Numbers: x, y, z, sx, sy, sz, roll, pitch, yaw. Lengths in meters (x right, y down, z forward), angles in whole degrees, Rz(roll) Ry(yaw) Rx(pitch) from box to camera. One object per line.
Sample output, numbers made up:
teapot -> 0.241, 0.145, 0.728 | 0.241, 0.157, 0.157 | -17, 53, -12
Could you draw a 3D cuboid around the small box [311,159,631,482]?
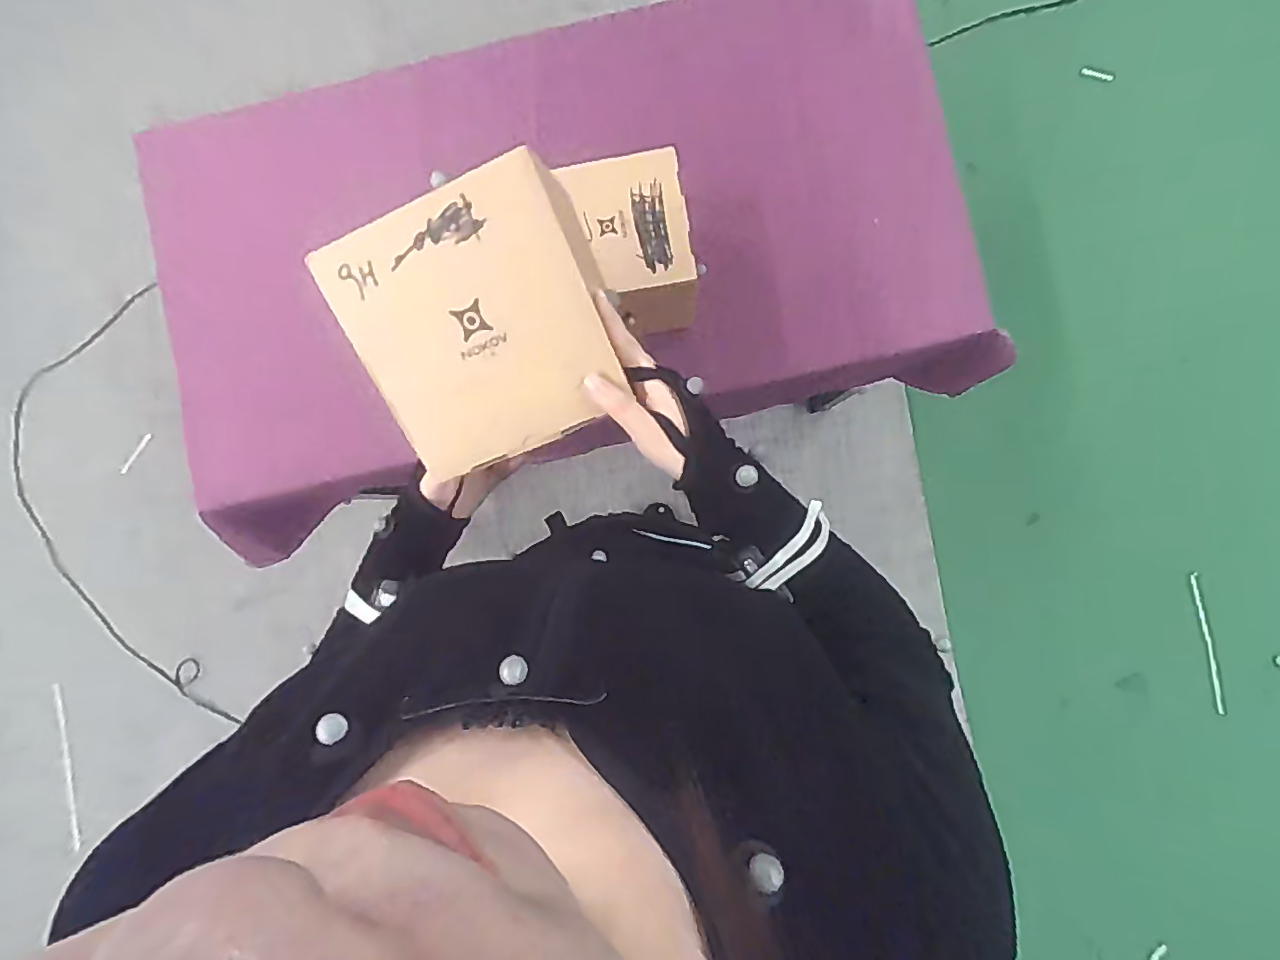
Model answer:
small box -> -0.111, -0.128, 0.448 | 0.168, 0.176, 0.179 | -21, 109, 8
